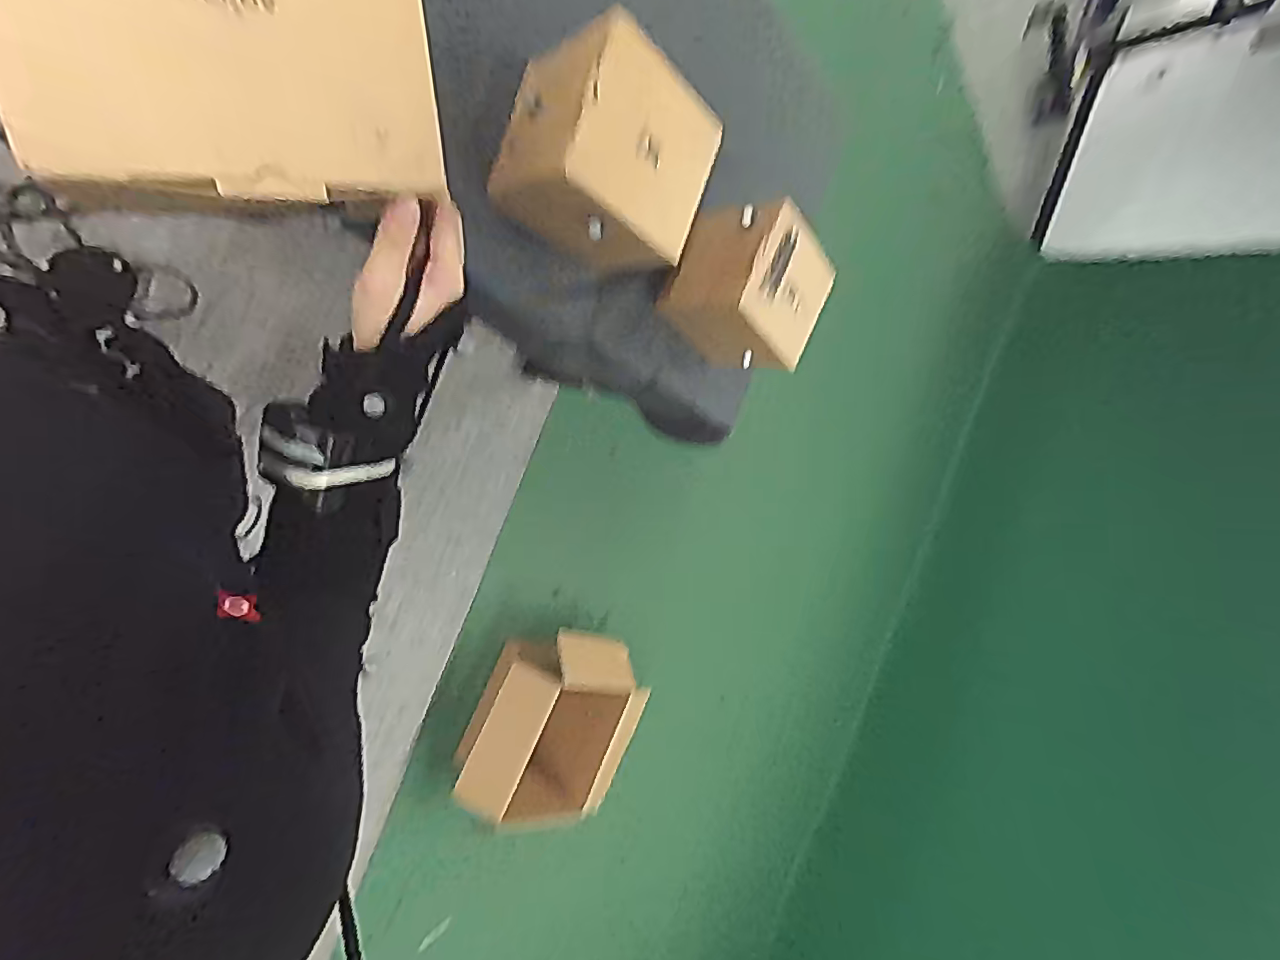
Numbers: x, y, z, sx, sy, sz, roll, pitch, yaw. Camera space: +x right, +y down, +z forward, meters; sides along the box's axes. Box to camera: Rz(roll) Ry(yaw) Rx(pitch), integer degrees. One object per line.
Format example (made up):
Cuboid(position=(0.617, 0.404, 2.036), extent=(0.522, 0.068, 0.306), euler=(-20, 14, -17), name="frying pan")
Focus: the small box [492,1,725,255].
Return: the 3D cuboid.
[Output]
Cuboid(position=(-0.039, -0.381, 0.628), extent=(0.179, 0.176, 0.168), euler=(19, 91, -43), name="small box")
